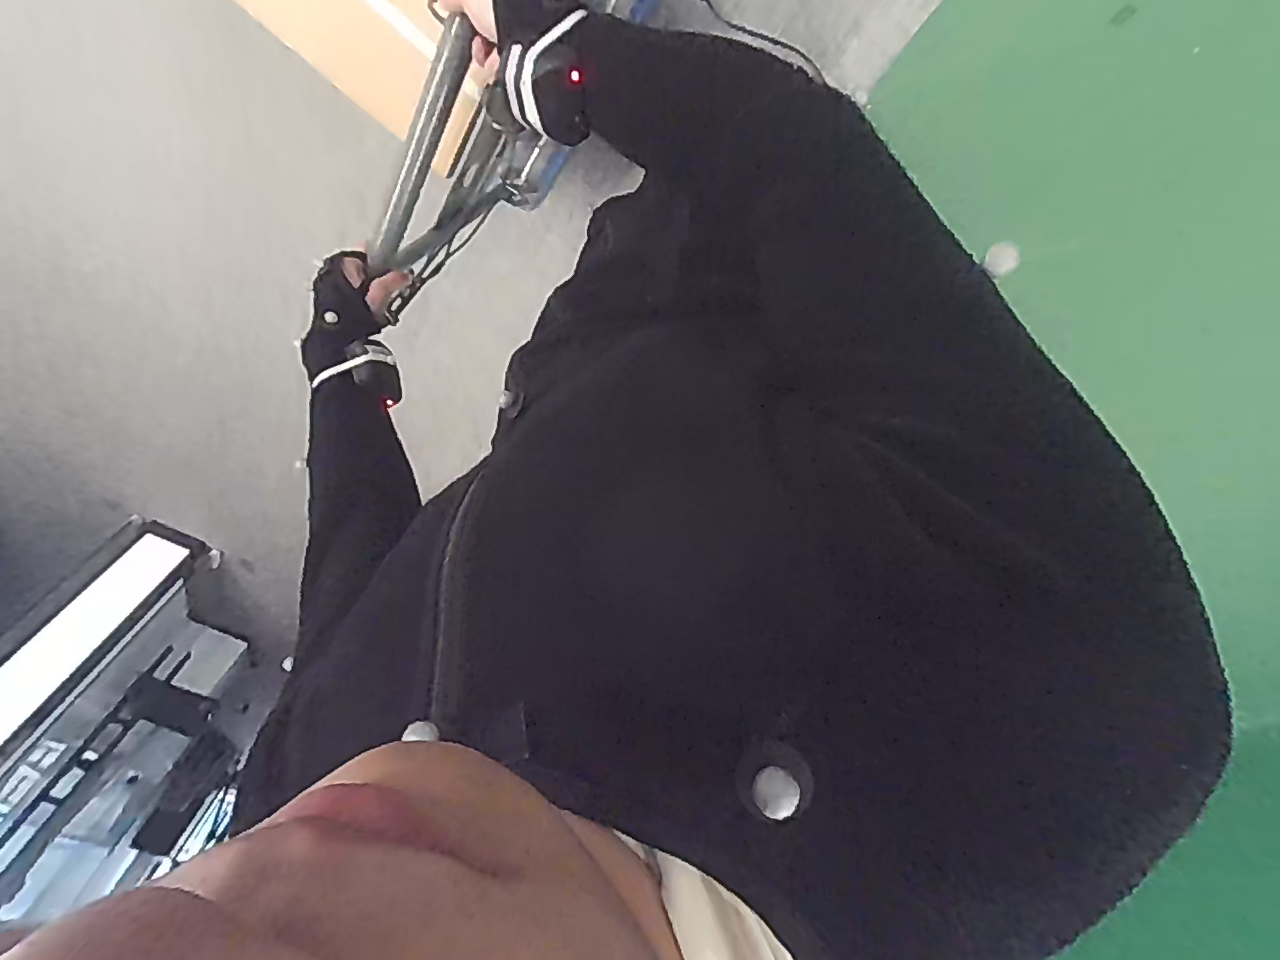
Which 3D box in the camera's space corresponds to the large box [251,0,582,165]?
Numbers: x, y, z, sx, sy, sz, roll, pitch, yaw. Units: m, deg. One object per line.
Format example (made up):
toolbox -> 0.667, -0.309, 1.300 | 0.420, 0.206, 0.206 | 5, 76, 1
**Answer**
large box -> -0.358, -0.826, 0.892 | 0.408, 0.320, 0.320 | 38, 131, -17
